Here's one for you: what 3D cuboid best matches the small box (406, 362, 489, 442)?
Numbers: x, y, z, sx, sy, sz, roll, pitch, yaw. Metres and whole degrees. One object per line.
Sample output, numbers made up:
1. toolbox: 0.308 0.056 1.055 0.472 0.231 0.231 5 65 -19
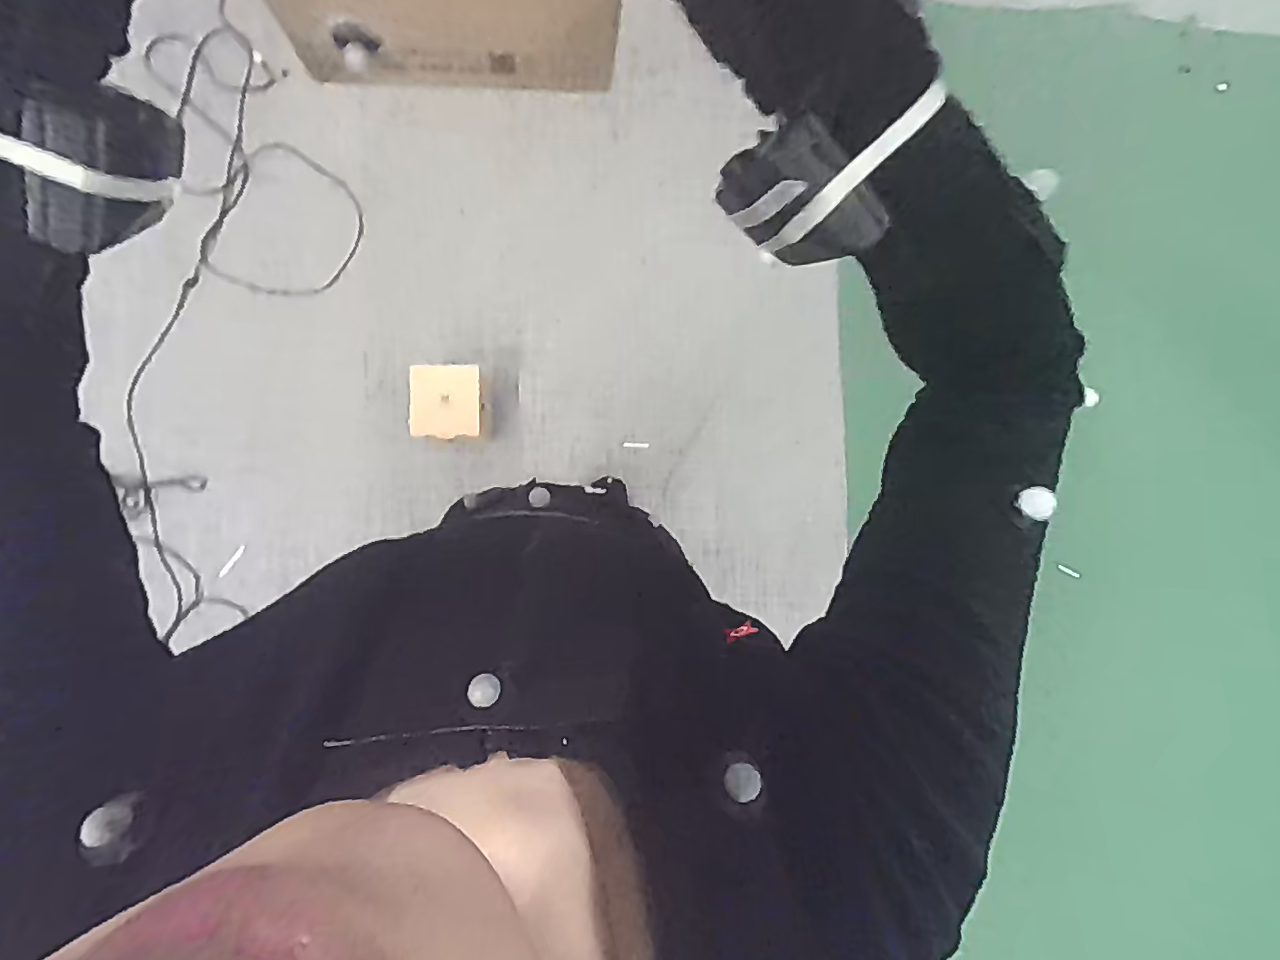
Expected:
1. small box: -0.485 -0.193 1.378 0.168 0.176 0.179 -1 88 -5
